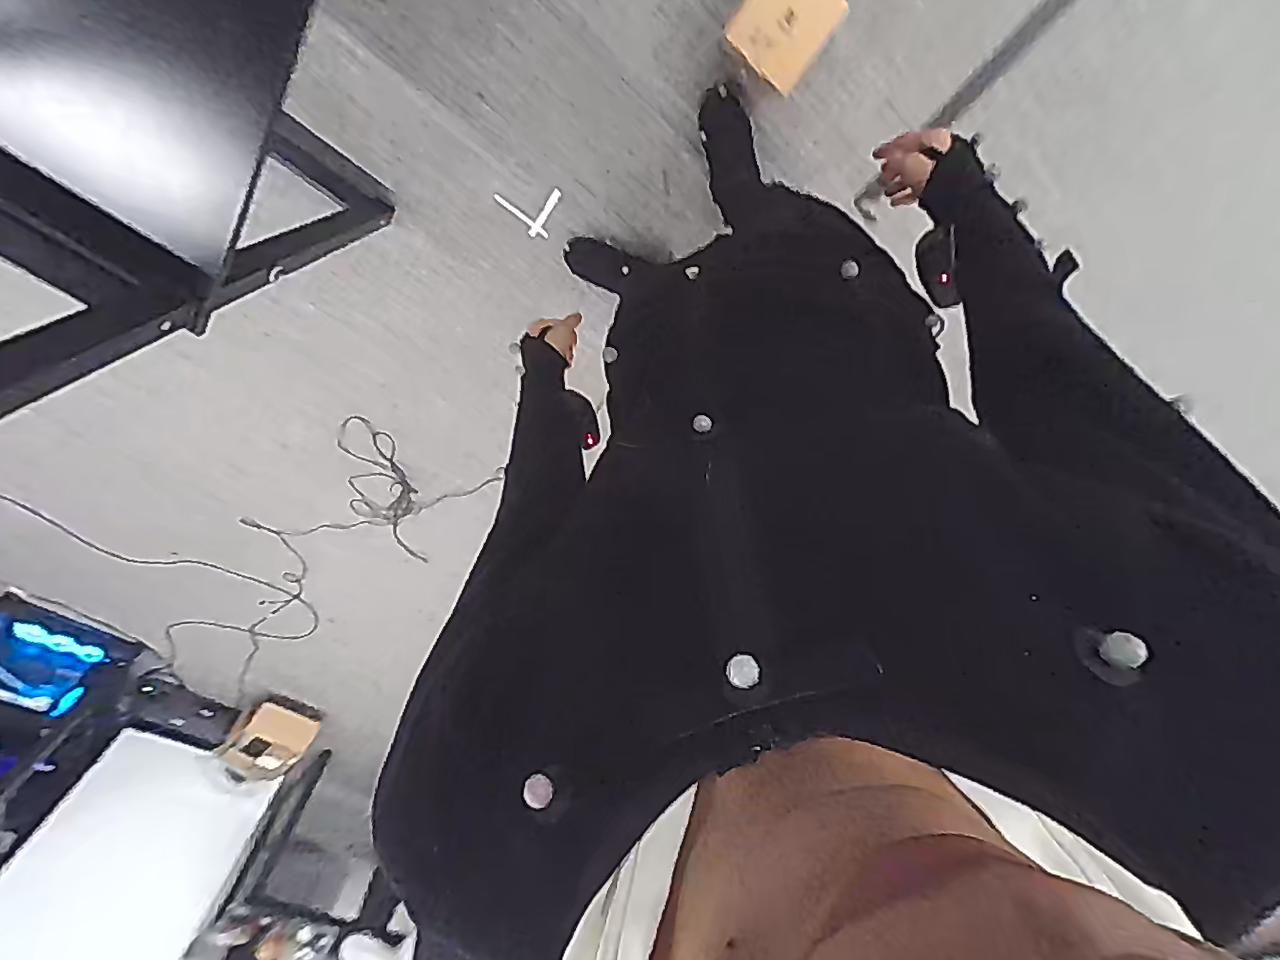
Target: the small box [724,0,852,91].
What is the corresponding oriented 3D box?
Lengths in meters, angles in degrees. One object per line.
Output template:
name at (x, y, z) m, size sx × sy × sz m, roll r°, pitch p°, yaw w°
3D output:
small box at (0.284, -0.924, 1.082) m, size 0.168 × 0.176 × 0.179 m, roll 32°, pitch 122°, yaw -18°
